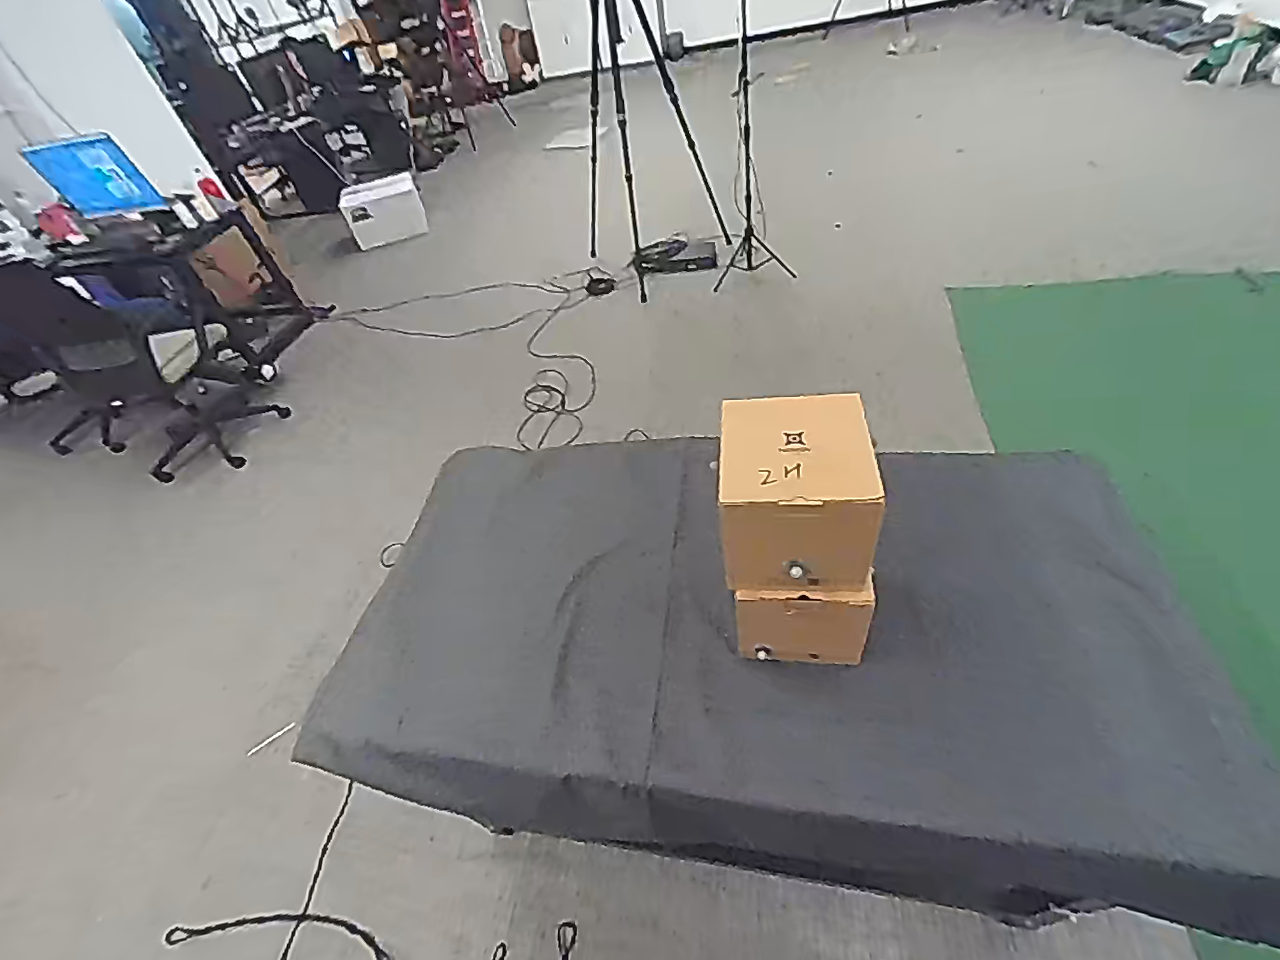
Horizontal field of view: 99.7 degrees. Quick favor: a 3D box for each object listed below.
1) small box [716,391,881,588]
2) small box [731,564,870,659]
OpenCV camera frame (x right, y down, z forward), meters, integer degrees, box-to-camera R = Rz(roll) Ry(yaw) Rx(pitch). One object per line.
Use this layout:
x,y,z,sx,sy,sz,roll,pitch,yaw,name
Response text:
0.183,0.013,0.662,0.168,0.176,0.179,-2,47,12,small box
0.221,0.136,0.767,0.168,0.176,0.179,0,46,13,small box
